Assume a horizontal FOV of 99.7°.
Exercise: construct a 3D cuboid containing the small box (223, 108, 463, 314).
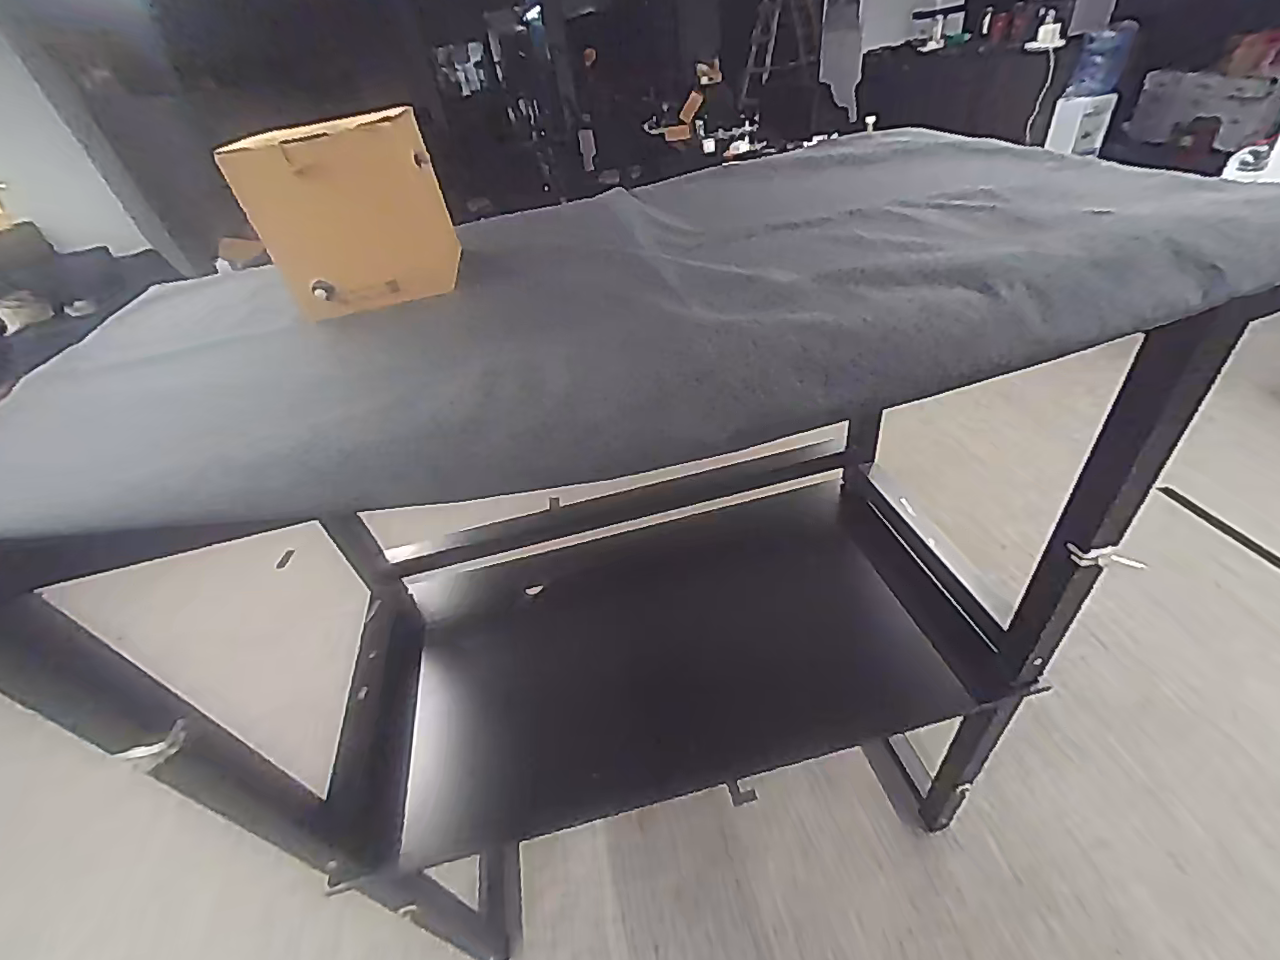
[{"bbox_3d":[-0.314,-0.305,0.621,0.168,0.176,0.179,-14,38,-3],"label":"small box"}]
